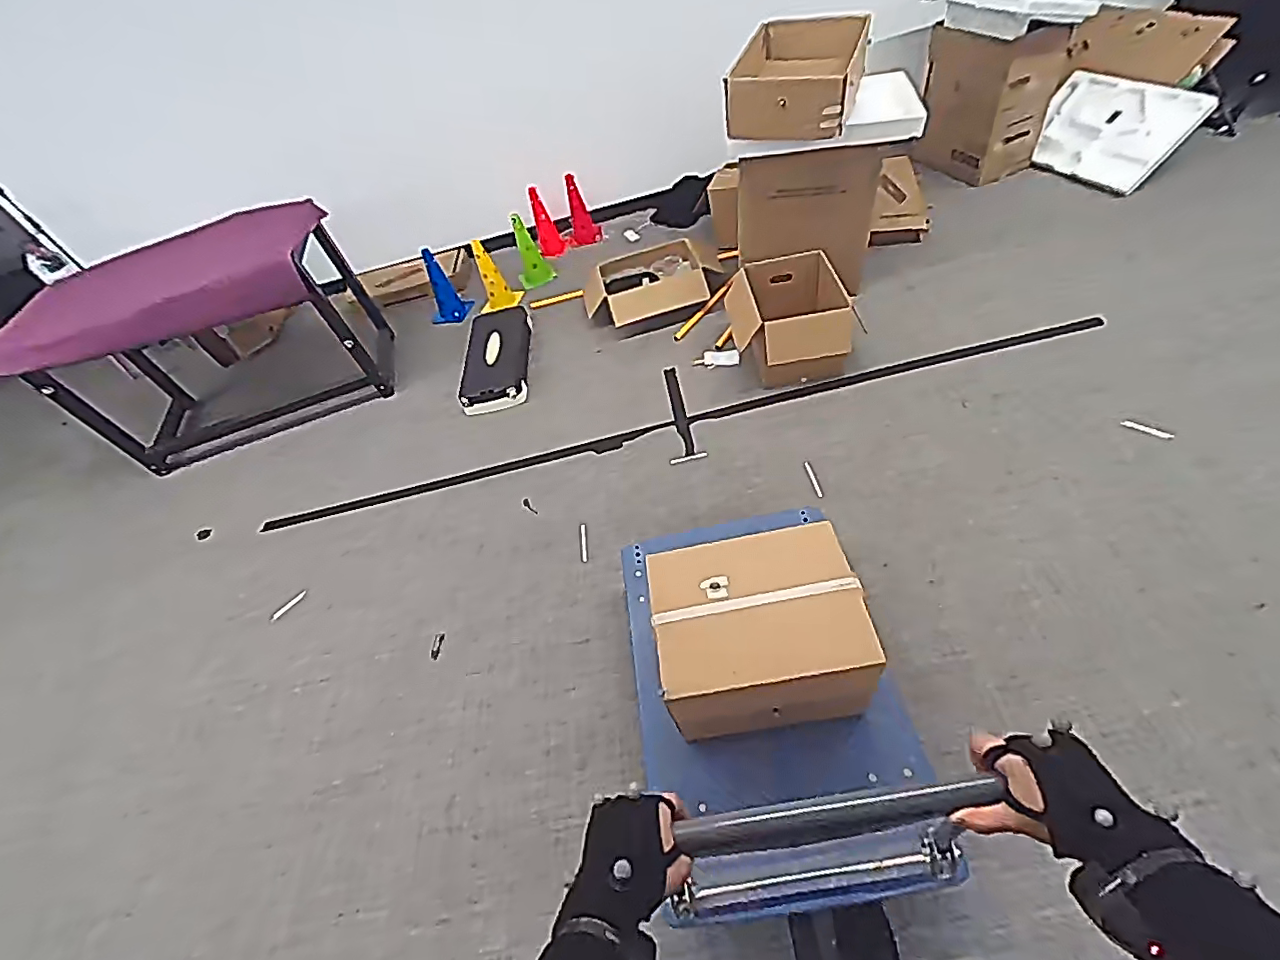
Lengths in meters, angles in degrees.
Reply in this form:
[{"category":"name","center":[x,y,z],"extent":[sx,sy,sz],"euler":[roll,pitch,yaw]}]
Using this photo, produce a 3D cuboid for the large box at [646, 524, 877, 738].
[{"category":"large box","center":[0.254,0.345,1.203],"extent":[0.408,0.320,0.320],"euler":[-13,49,5]}]
